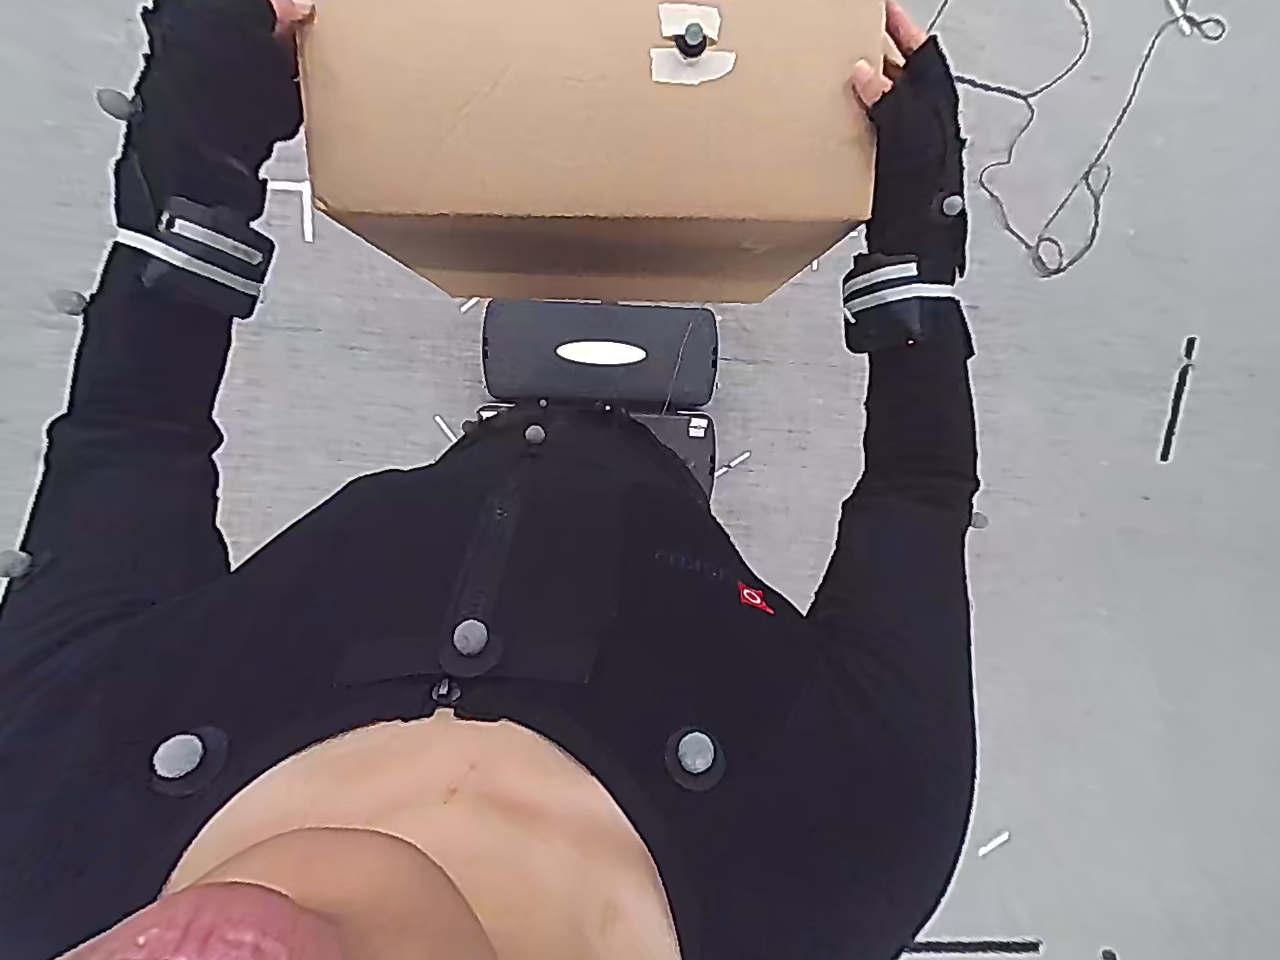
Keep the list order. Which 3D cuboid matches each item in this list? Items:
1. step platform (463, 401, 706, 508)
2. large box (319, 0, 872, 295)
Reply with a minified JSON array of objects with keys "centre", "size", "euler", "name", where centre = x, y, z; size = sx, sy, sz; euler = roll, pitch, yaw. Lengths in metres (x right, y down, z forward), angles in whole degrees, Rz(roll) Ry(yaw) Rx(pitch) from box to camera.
[{"centre":[-0.152,-0.073,1.562],"size":[0.684,0.204,0.286],"euler":[2,97,-3],"name":"step platform"},{"centre":[-0.035,-0.374,0.533],"size":[0.408,0.320,0.320],"euler":[0,98,-3],"name":"large box"}]
